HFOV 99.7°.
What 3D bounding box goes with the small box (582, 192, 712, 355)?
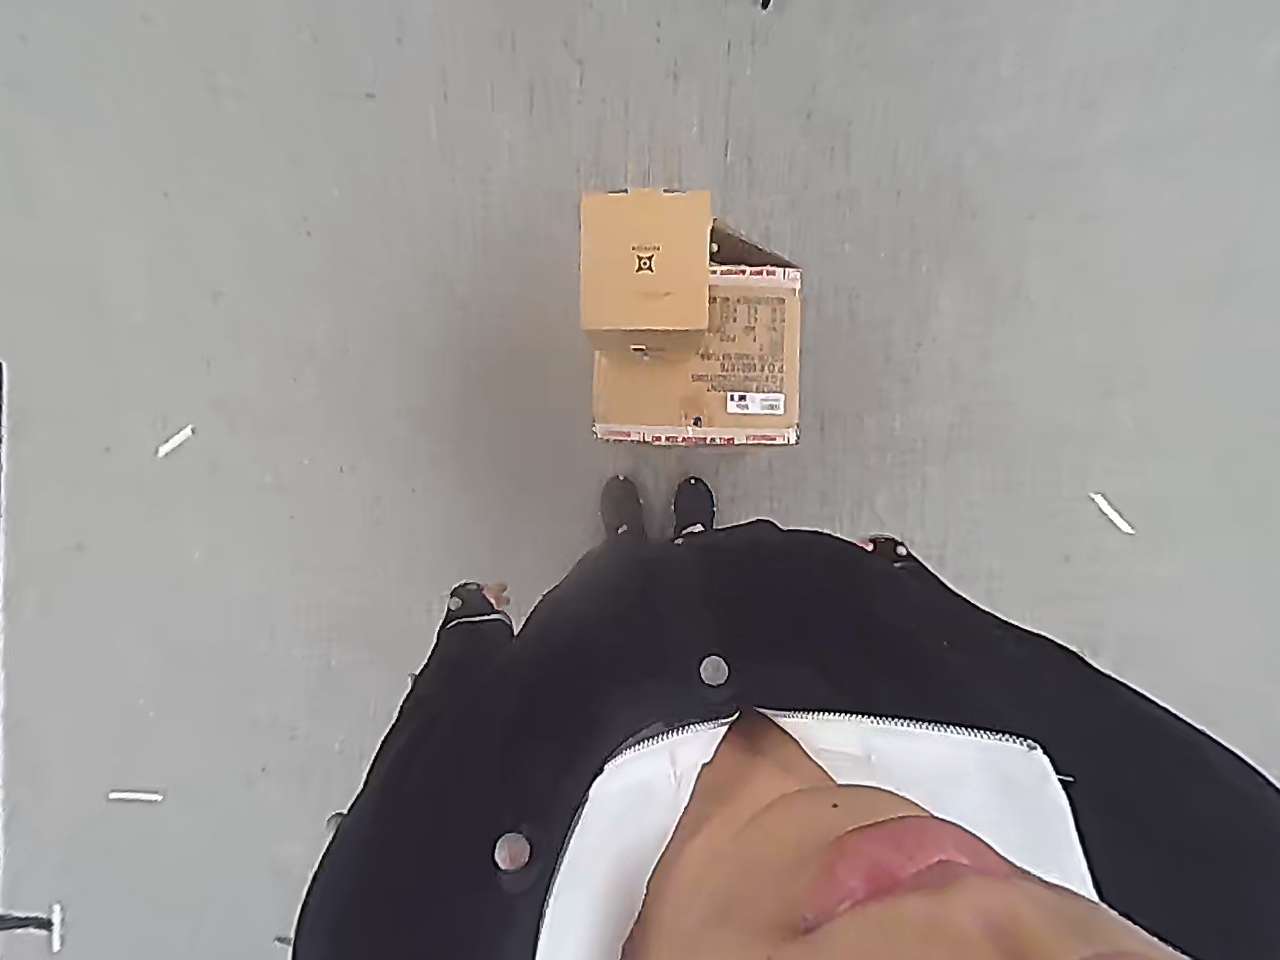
[{"bbox_3d":[0.011,-0.280,0.764,0.168,0.176,0.179,0,94,3],"label":"small box"}]
